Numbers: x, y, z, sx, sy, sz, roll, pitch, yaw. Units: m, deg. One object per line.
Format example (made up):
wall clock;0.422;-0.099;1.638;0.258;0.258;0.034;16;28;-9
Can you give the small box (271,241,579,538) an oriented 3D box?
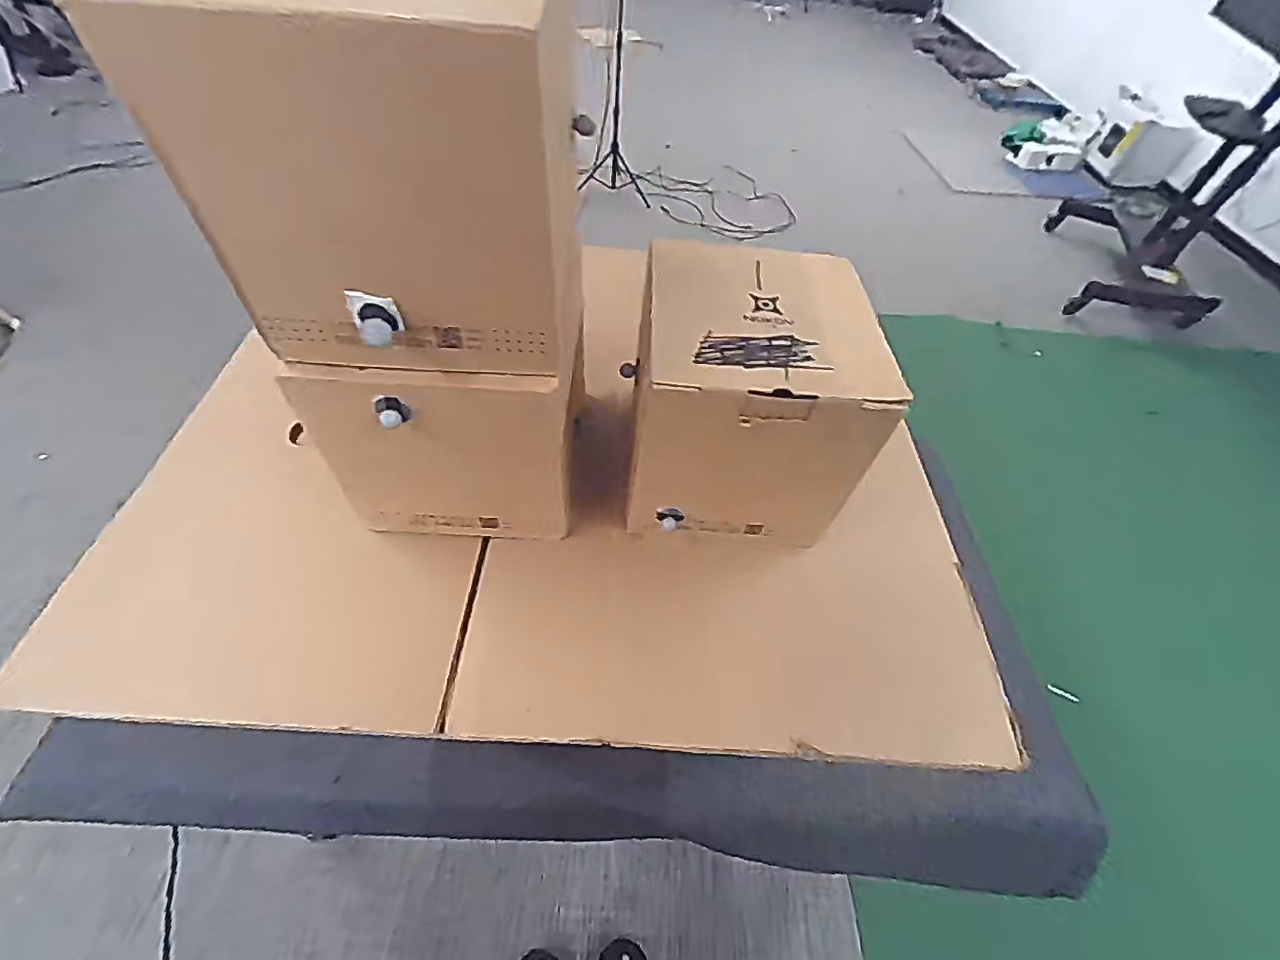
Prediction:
small box;-0.139;-0.075;0.432;0.168;0.176;0.179;2;52;-1

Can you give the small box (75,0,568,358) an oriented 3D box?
small box;-0.128;-0.191;0.297;0.168;0.176;0.179;1;54;-4
